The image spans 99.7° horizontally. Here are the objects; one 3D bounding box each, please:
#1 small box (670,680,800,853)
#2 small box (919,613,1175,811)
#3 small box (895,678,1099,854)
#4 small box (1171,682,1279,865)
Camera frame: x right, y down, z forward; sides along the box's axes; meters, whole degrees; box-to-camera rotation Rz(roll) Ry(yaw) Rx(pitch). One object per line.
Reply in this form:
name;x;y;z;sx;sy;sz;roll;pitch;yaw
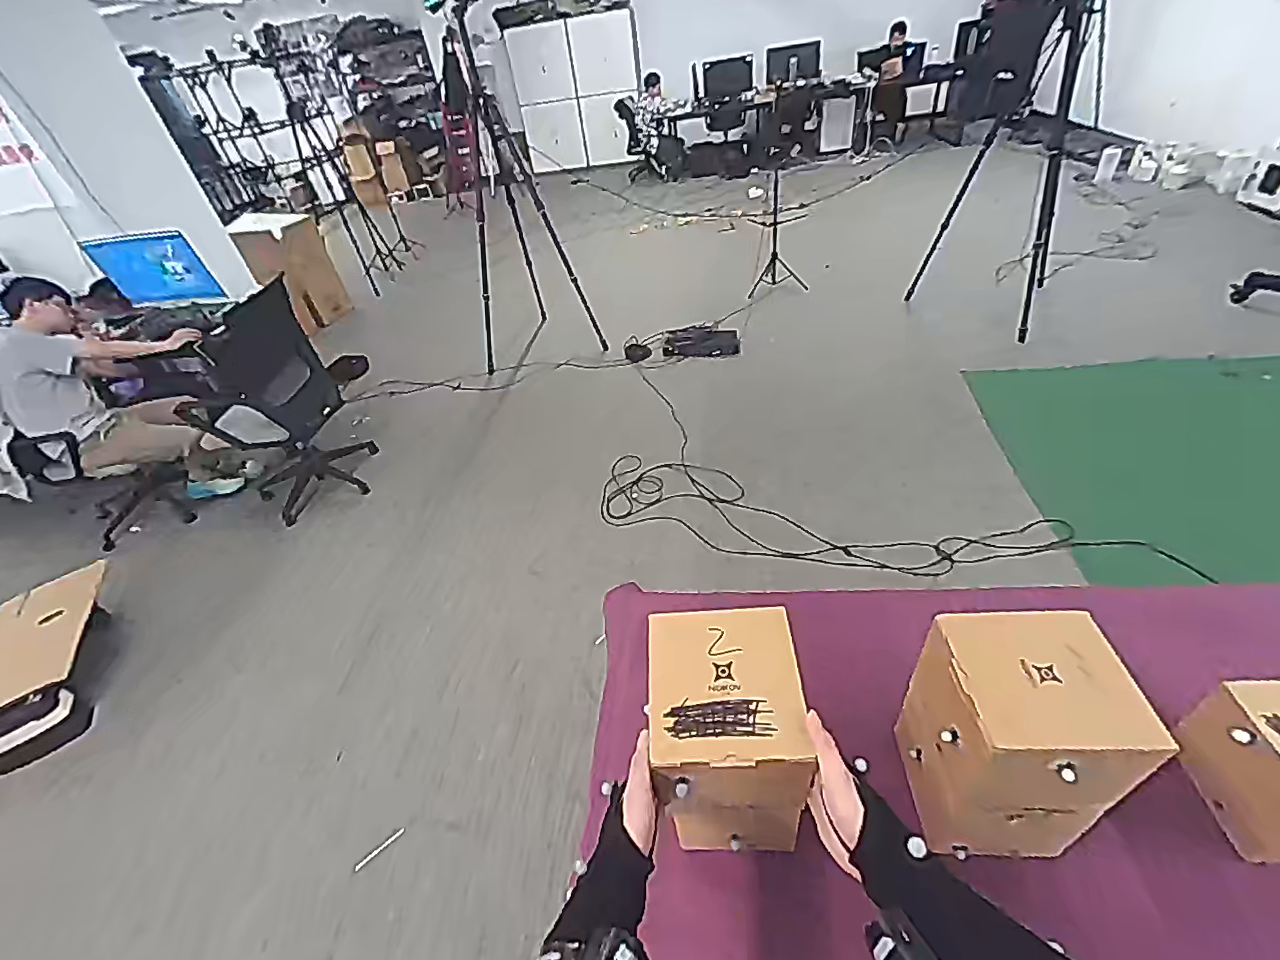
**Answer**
small box;0.133;0.420;0.797;0.168;0.176;0.179;-4;40;7
small box;0.456;0.278;0.650;0.179;0.176;0.168;-3;41;7
small box;0.477;0.400;0.757;0.168;0.176;0.179;-3;40;8
small box;0.863;0.383;0.699;0.179;0.176;0.168;-2;40;8
